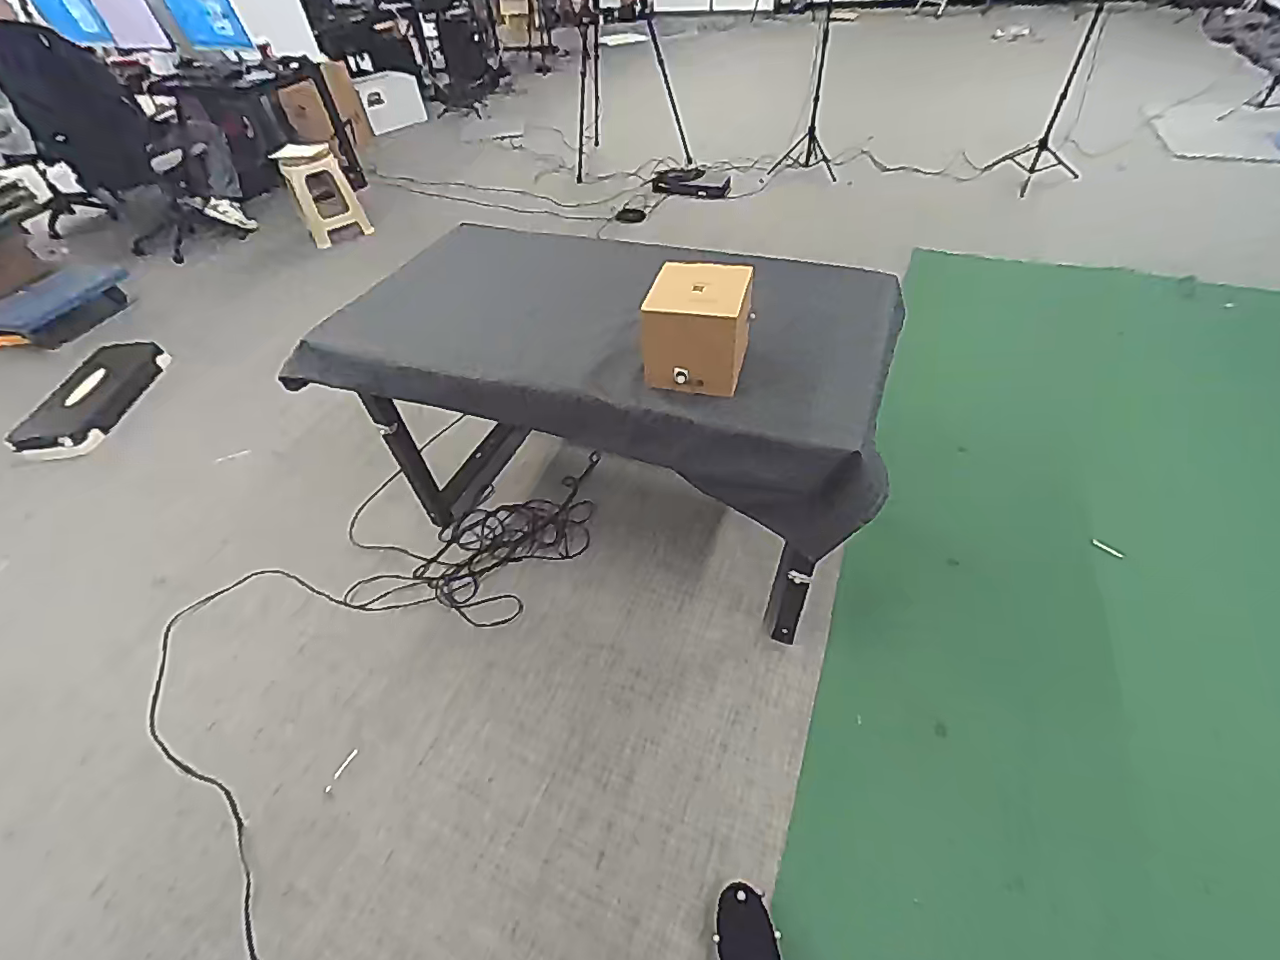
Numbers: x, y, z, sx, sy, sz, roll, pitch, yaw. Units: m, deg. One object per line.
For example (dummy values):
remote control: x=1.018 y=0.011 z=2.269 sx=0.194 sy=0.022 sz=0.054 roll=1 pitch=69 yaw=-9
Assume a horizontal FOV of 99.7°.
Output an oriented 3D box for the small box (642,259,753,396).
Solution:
small box: x=0.108 y=-0.280 z=0.990 sx=0.168 sy=0.176 sz=0.179 roll=9 pitch=50 yaw=14
